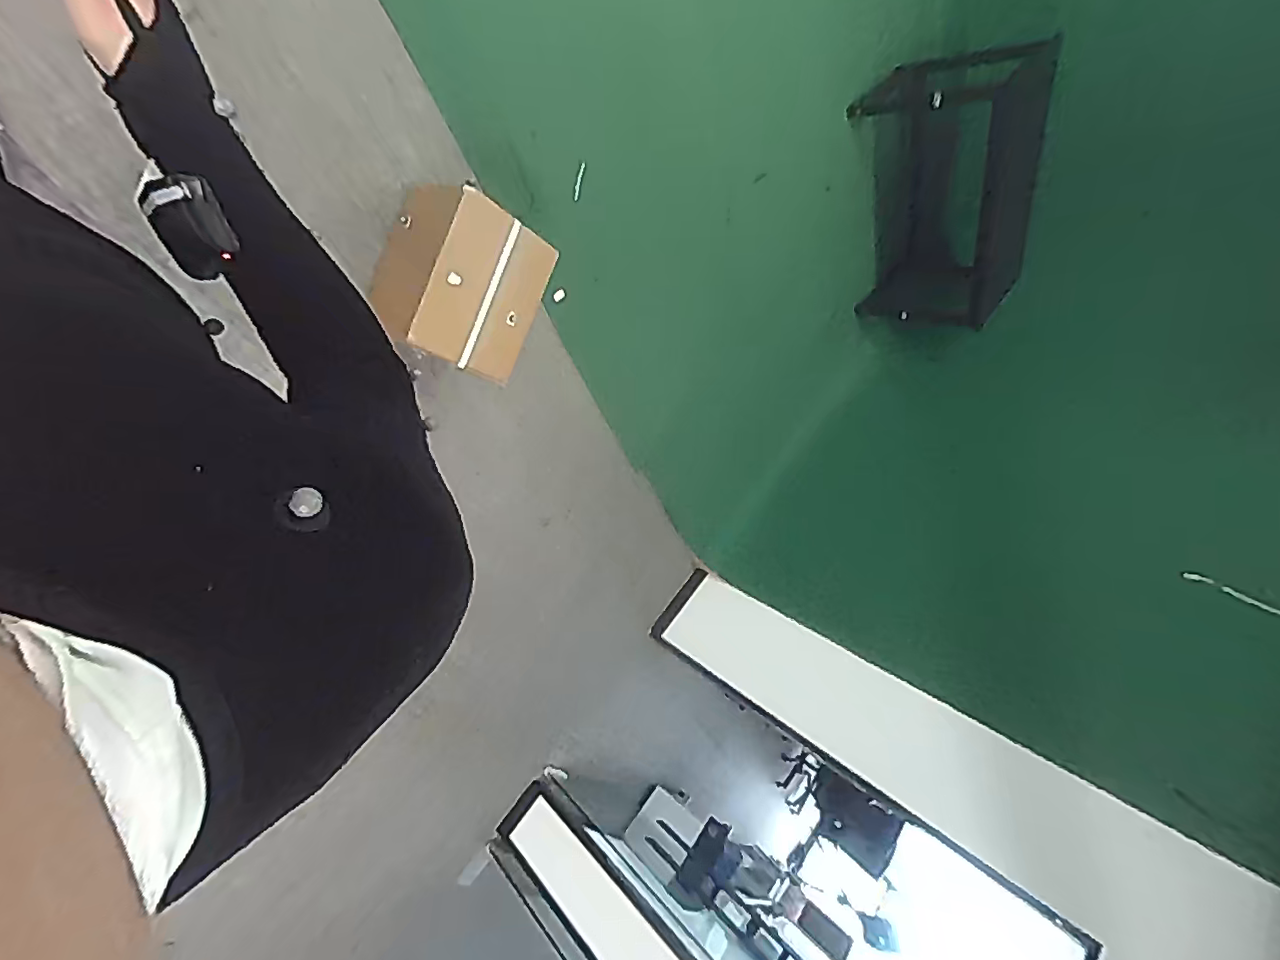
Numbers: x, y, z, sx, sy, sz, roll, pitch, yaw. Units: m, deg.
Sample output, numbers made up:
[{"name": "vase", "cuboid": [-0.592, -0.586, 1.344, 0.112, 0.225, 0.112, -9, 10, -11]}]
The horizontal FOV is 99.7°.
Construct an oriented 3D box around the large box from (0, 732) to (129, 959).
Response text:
[{"name": "large box", "cuboid": [-1.456, 0.859, 1.186, 0.408, 0.320, 0.320, -22, 125, -41]}]
